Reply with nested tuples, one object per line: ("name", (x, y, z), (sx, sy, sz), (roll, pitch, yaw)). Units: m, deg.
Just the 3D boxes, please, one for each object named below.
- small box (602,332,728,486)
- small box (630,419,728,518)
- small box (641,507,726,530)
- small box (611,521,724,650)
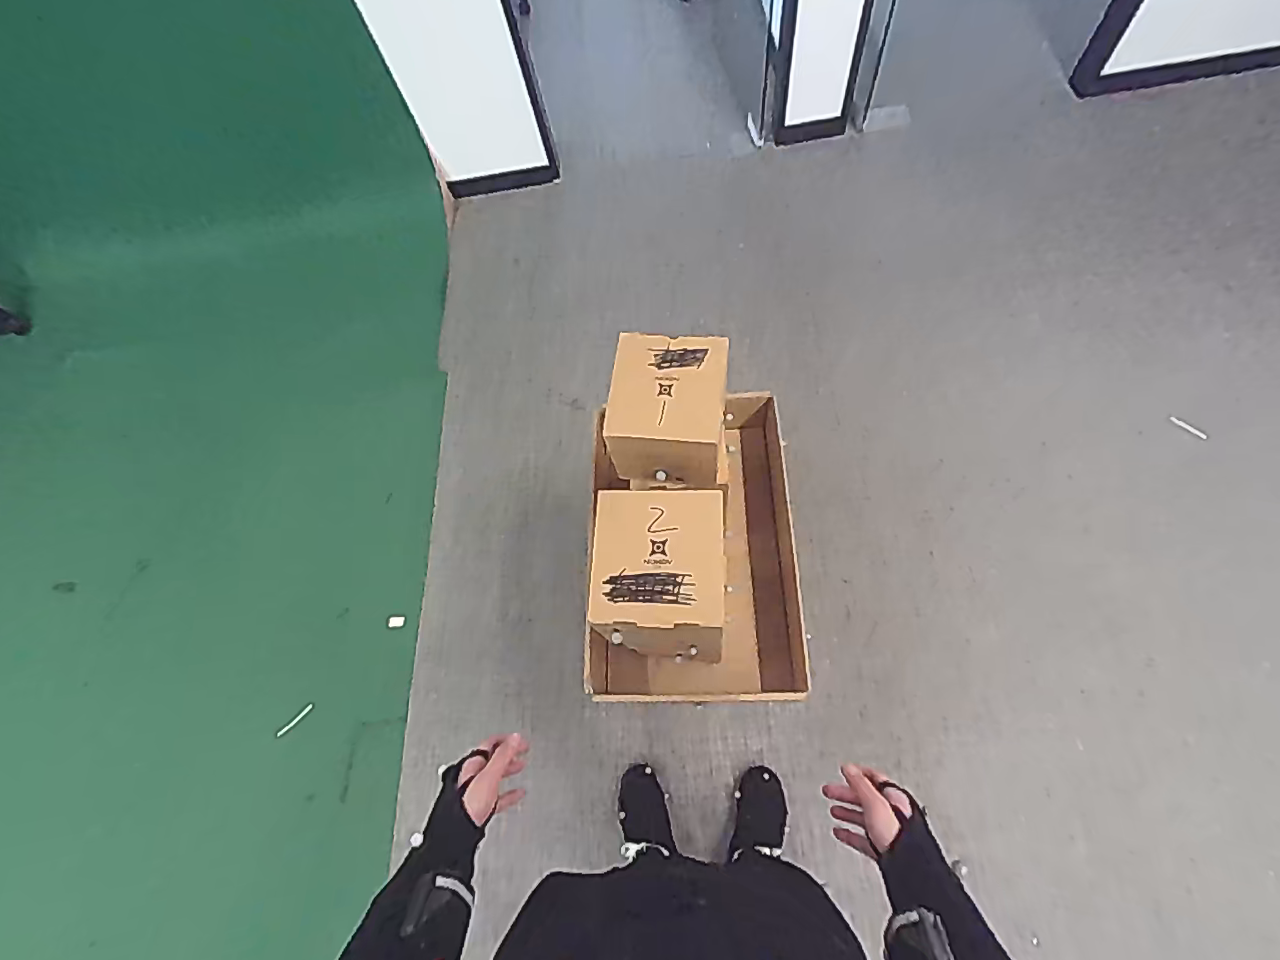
("small box", (0.046, -0.108, 0.851), (0.168, 0.176, 0.179), (5, 69, 10))
("small box", (0.071, -0.040, 0.999), (0.168, 0.176, 0.179), (-4, 68, 6))
("small box", (0.092, 0.021, 1.147), (0.168, 0.176, 0.179), (-4, 67, 7))
("small box", (0.054, 0.181, 0.898), (0.168, 0.176, 0.179), (2, 65, 8))
